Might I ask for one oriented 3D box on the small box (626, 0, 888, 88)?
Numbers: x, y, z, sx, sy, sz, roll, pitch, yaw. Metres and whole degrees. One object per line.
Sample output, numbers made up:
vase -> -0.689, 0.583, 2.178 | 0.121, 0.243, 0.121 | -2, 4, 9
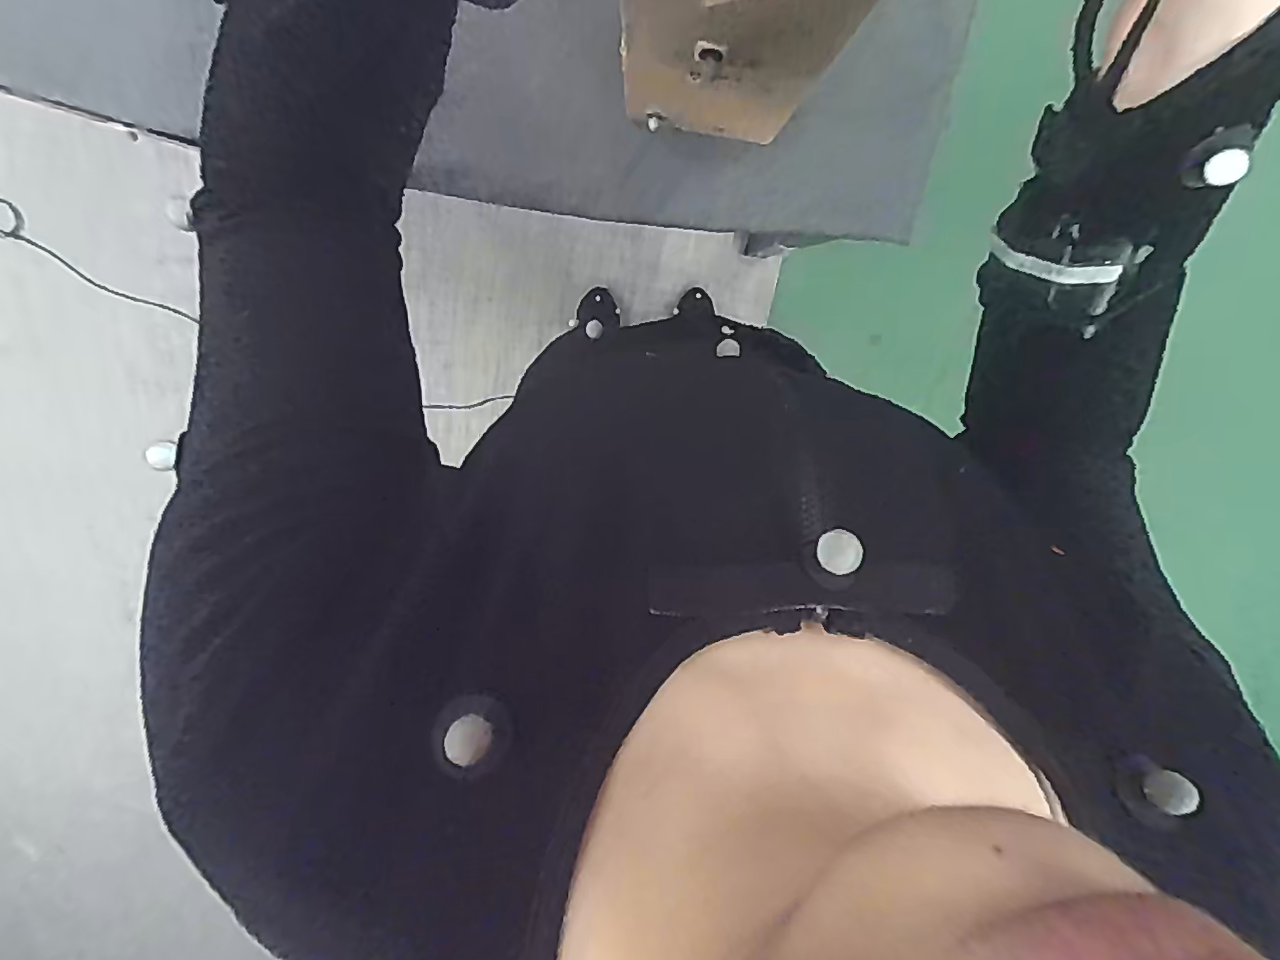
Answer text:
small box -> 0.078, -0.394, 0.350 | 0.168, 0.176, 0.179 | 5, 108, 0

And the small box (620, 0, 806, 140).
small box -> 0.078, -0.446, 0.503 | 0.168, 0.176, 0.179 | 9, 106, -2
